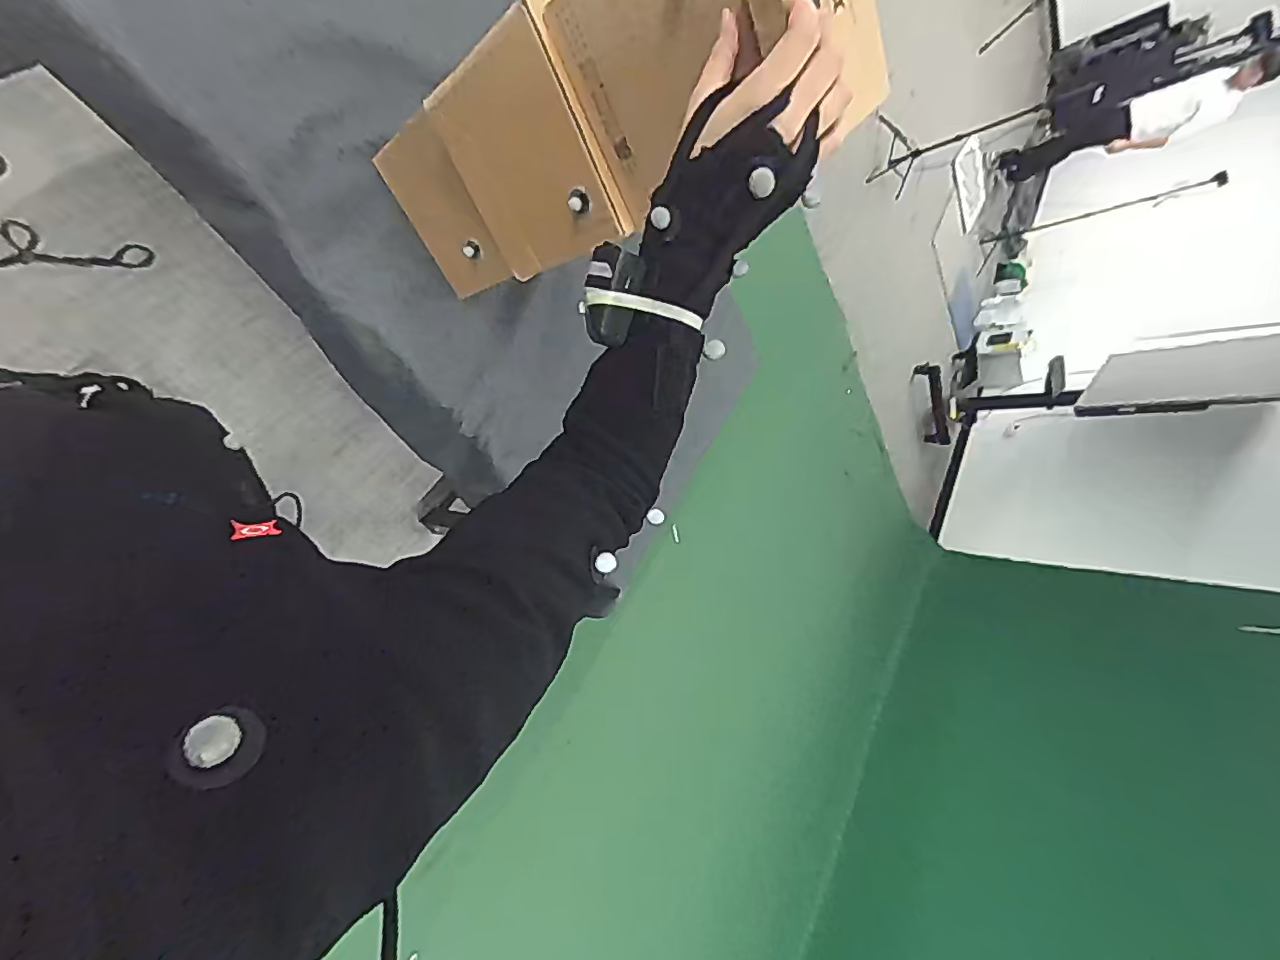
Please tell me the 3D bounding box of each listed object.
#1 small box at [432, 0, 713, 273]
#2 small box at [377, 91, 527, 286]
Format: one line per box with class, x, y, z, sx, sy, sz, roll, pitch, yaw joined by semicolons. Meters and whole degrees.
small box;-0.063;-0.329;0.523;0.168;0.176;0.179;-49;125;-34
small box;-0.169;-0.351;0.645;0.168;0.176;0.179;-50;124;-33
